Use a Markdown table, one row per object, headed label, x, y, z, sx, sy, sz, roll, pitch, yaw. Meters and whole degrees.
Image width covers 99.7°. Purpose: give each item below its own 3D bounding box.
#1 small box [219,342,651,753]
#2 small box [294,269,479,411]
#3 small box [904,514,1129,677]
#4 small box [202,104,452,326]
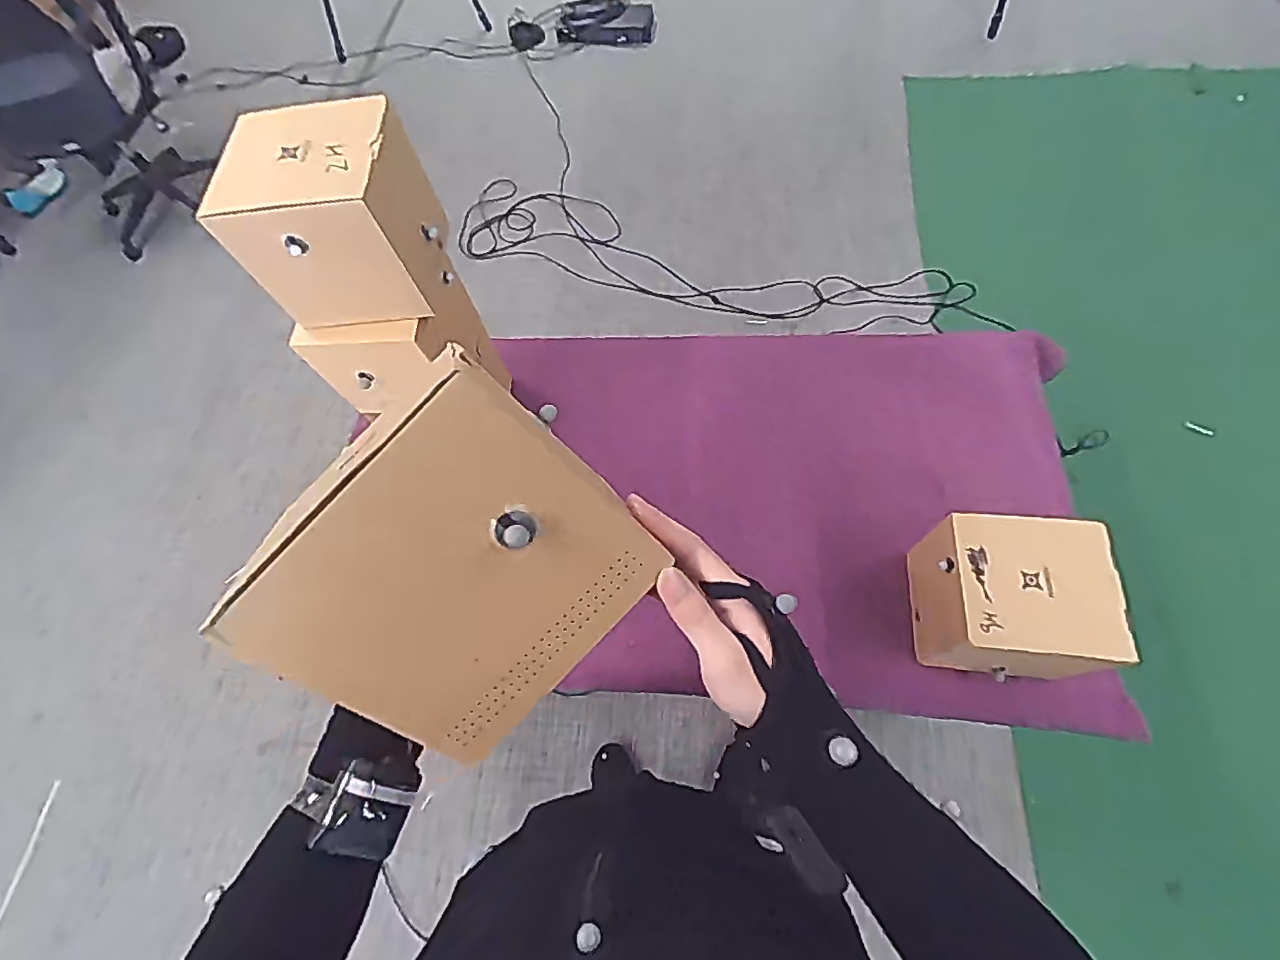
| label | x | y | z | sx | sy | sz | roll | pitch | yaw |
| --- | --- | --- | --- | --- | --- | --- | --- | --- | --- |
| small box | -0.114 | 0.036 | 0.362 | 0.179 | 0.176 | 0.168 | -46 | 27 | -1 |
| small box | -0.346 | -0.209 | 0.778 | 0.168 | 0.176 | 0.179 | -1 | 65 | 5 |
| small box | 0.470 | 0.158 | 0.709 | 0.179 | 0.176 | 0.168 | 5 | 64 | 8 |
| small box | -0.348 | -0.301 | 0.639 | 0.179 | 0.176 | 0.168 | -4 | 65 | 3 |
